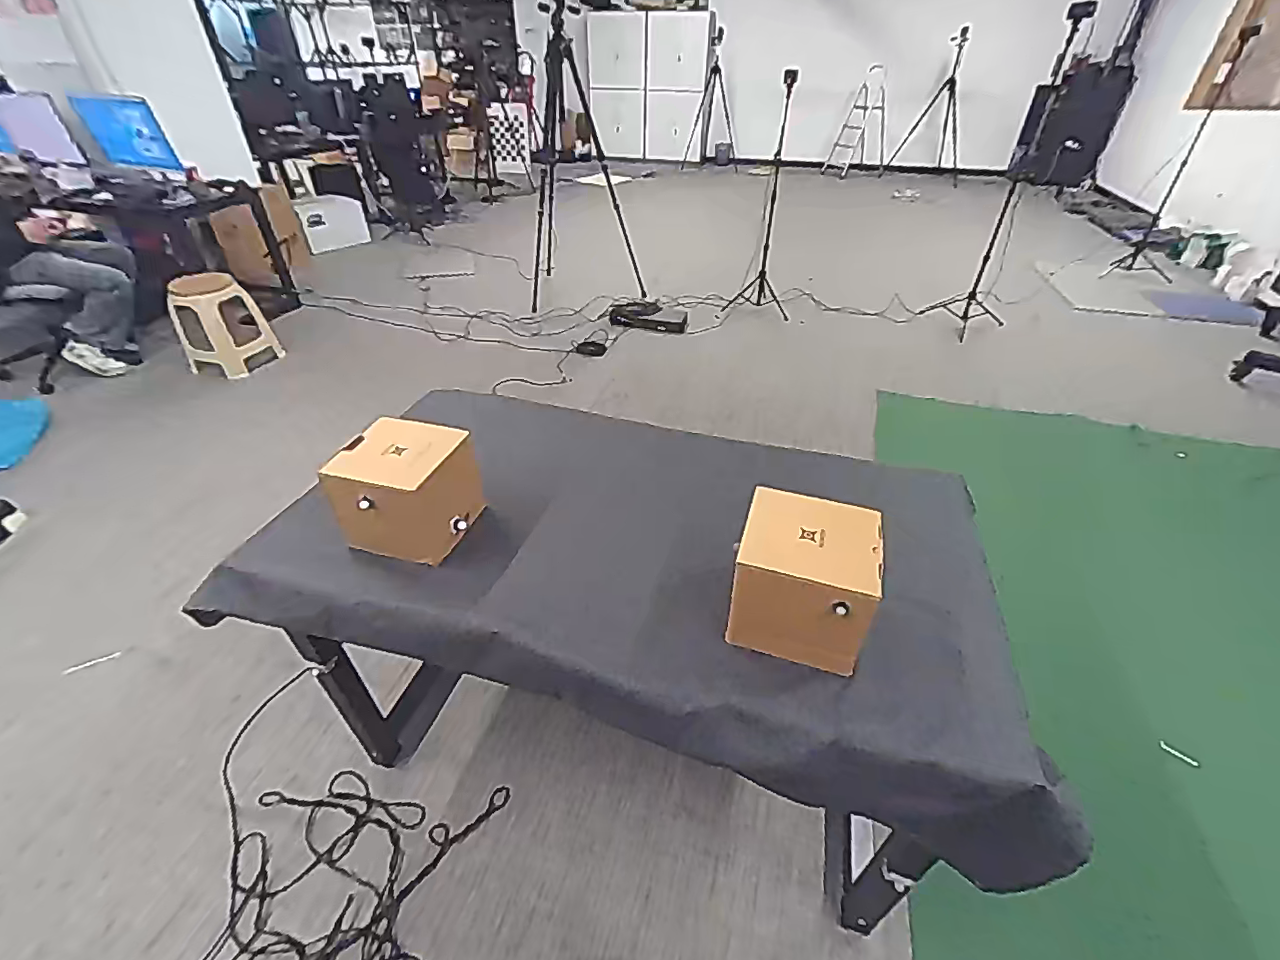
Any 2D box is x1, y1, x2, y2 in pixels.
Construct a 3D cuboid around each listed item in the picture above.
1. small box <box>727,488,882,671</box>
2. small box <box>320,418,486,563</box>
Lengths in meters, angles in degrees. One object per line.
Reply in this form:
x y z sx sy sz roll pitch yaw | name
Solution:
0.227 0.139 0.761 0.179 0.176 0.168 12 39 15 | small box
-0.385 0.018 0.912 0.179 0.176 0.168 11 40 11 | small box
